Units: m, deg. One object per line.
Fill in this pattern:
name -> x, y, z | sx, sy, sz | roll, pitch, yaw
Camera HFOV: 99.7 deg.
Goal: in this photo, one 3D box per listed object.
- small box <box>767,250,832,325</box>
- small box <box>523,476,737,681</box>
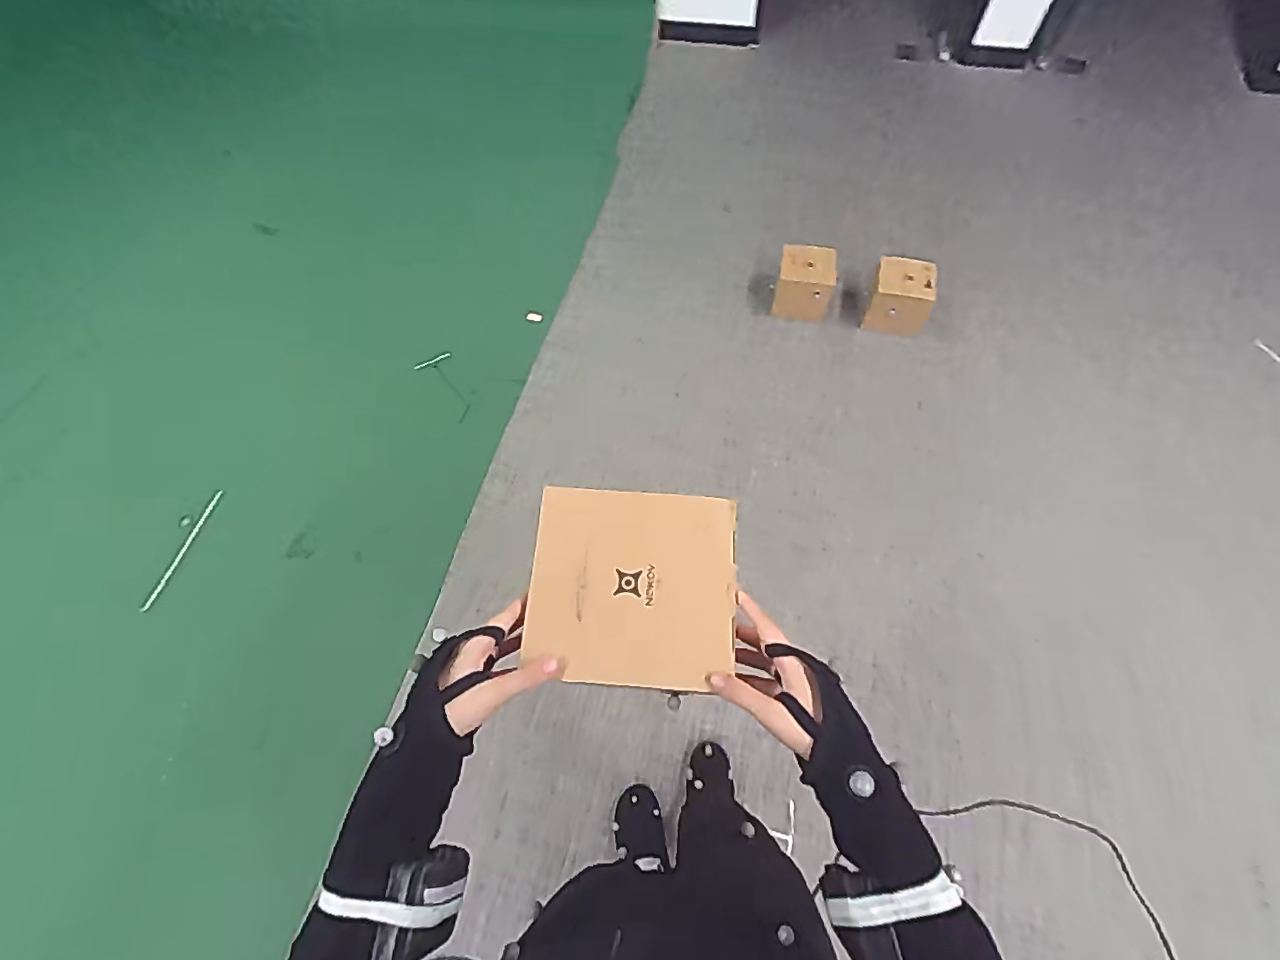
small box -> 0.539, -0.649, 1.837 | 0.179, 0.176, 0.168 | 8, 64, 7
small box -> -0.004, 0.108, 0.547 | 0.179, 0.176, 0.168 | 4, 67, 3
